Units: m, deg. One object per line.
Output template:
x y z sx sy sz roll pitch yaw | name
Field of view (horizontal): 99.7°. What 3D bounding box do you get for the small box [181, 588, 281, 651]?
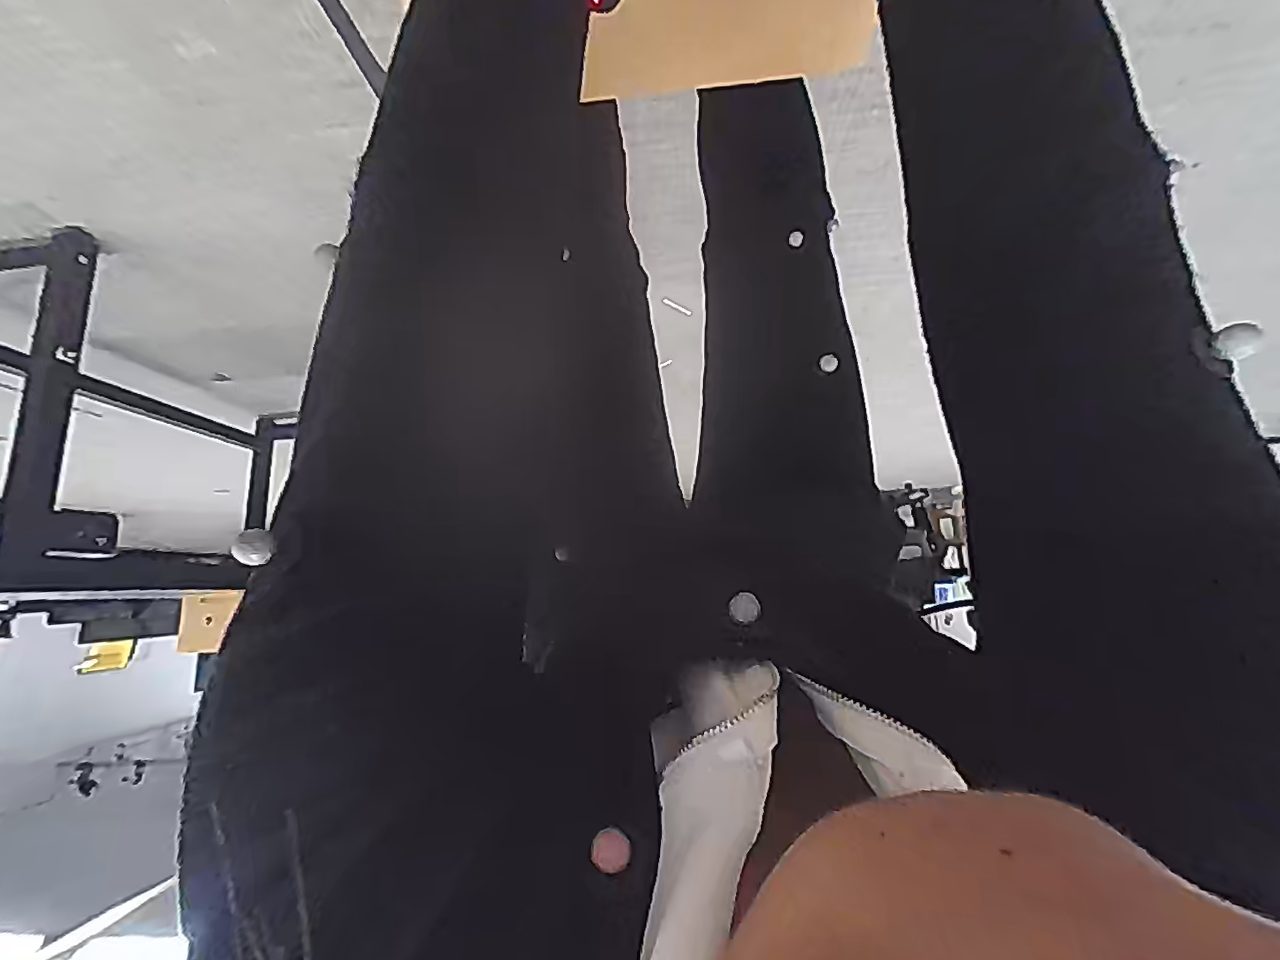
-1.221 0.416 1.626 0.168 0.176 0.179 -3 169 4 | small box
